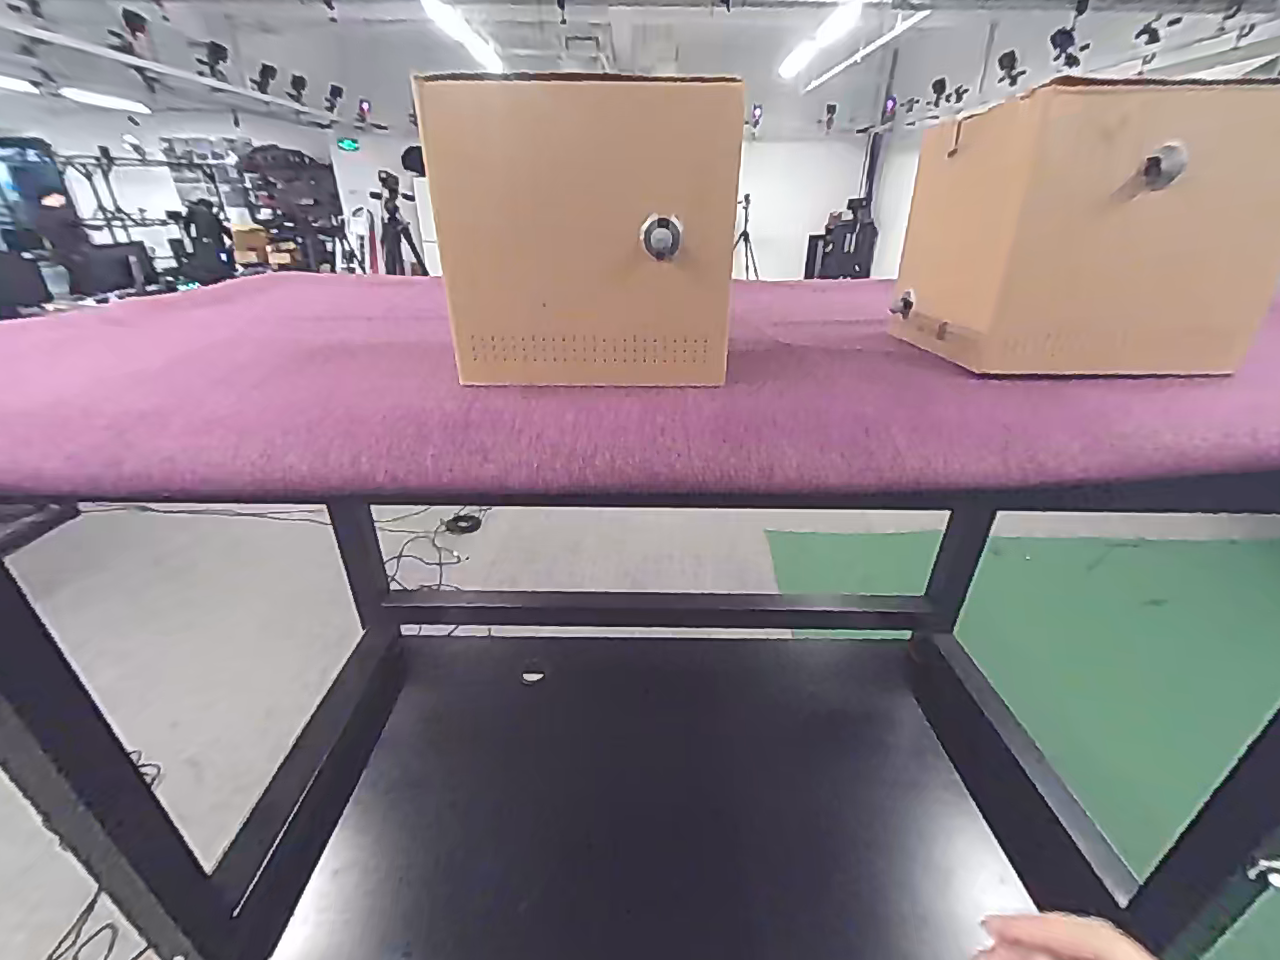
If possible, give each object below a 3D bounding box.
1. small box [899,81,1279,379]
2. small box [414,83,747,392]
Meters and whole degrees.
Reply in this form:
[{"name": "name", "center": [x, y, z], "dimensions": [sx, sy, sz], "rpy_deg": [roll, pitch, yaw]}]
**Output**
[{"name": "small box", "center": [0.316, -0.176, 0.407], "dimensions": [0.179, 0.176, 0.168], "rpy_deg": [1, 25, 1]}, {"name": "small box", "center": [-0.032, -0.166, 0.387], "dimensions": [0.179, 0.176, 0.168], "rpy_deg": [-1, 27, -1]}]
